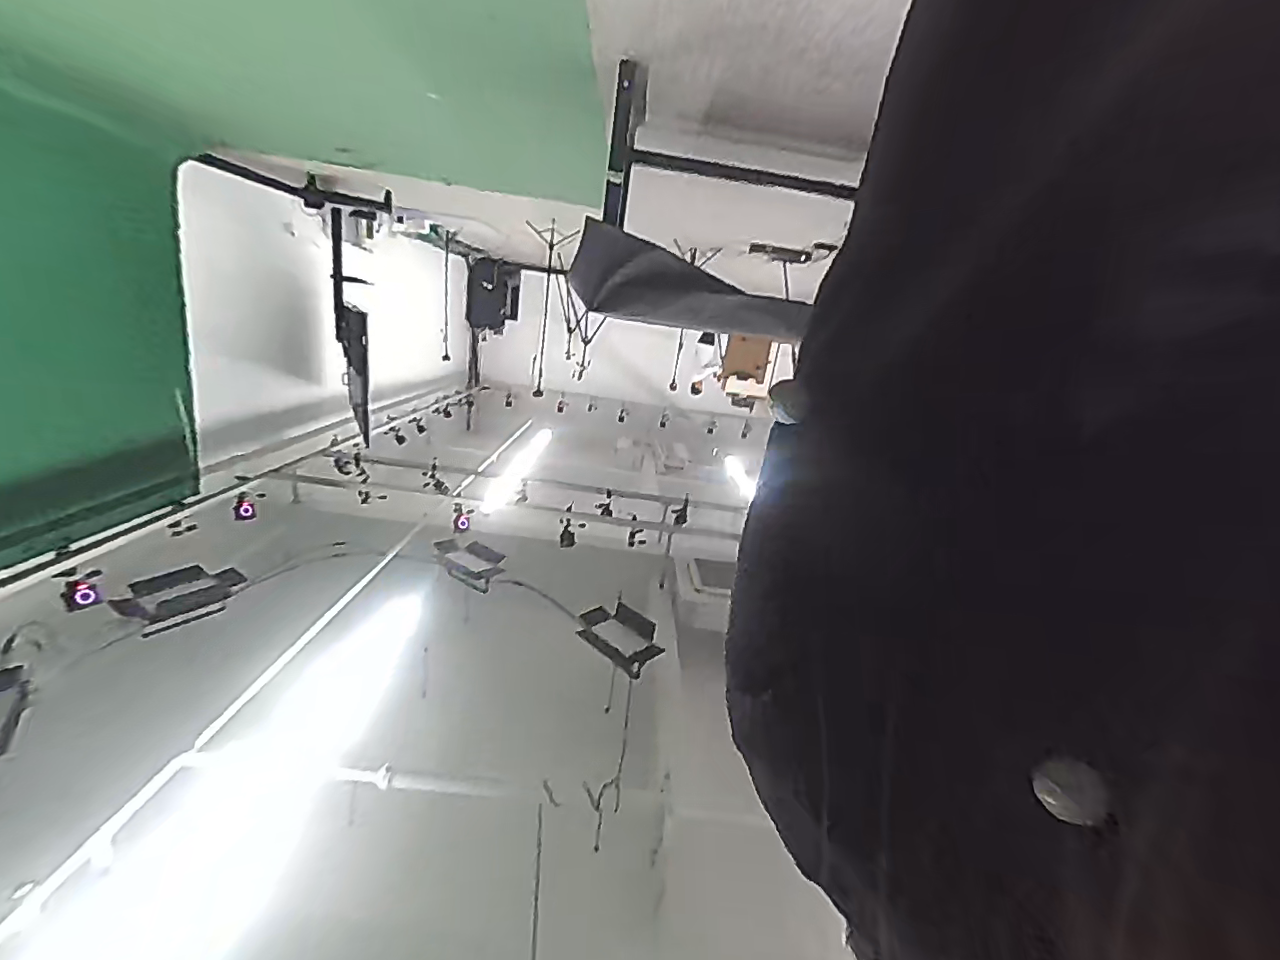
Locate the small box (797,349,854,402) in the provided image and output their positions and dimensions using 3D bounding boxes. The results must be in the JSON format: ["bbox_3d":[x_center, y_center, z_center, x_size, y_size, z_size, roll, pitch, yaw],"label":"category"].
[{"bbox_3d":[0.705,-0.403,2.062,0.168,0.176,0.179,13,-164,11],"label":"small box"}]
